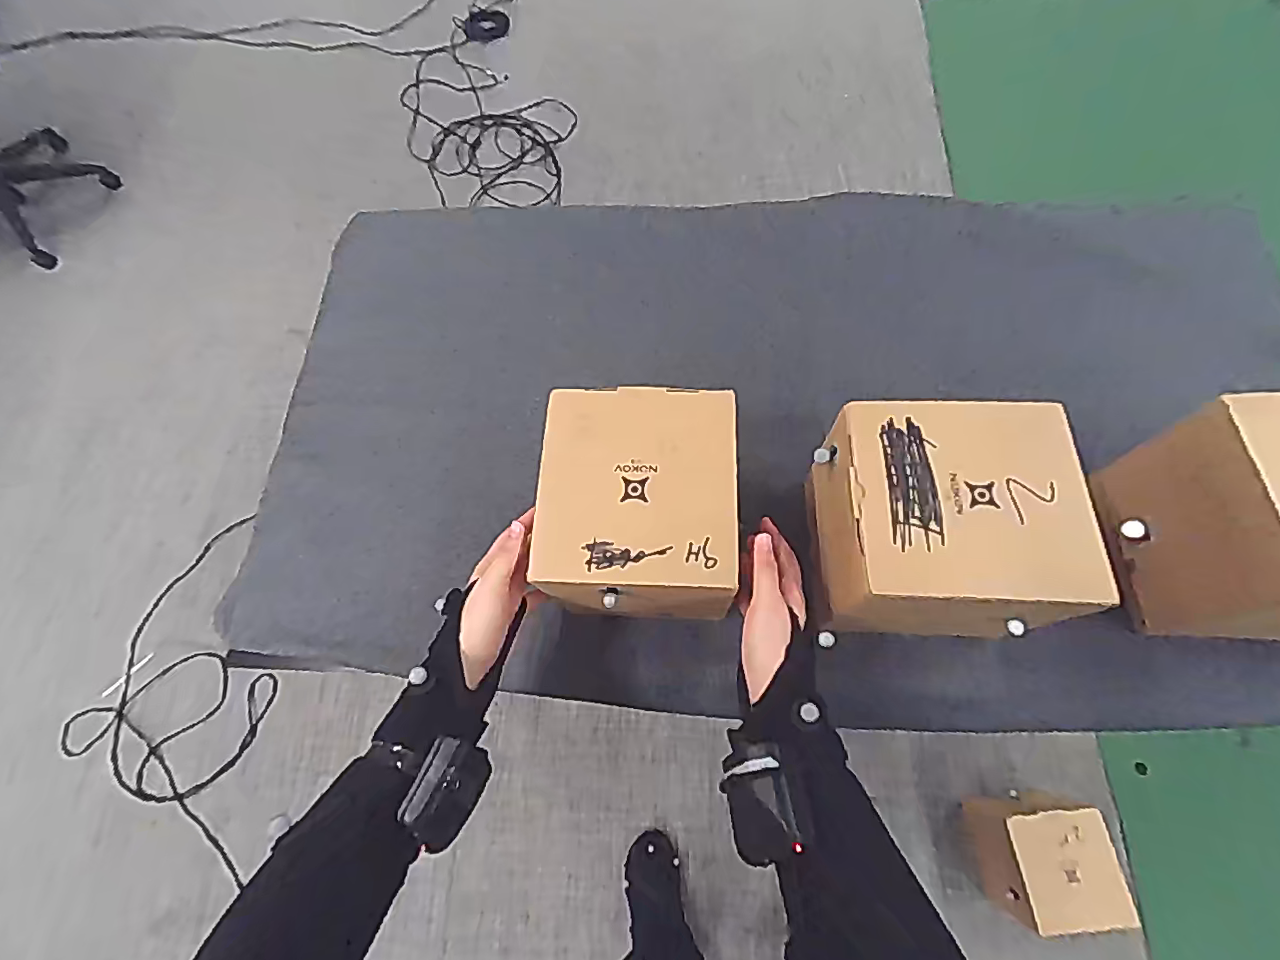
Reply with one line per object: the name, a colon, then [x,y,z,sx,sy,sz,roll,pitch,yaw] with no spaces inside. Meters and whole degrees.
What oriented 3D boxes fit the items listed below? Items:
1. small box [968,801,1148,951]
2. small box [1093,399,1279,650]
small box: [0.734,0.700,0.974,0.168,0.176,0.179,-7,68,2]
small box: [0.548,0.046,0.457,0.179,0.176,0.168,0,65,7]
